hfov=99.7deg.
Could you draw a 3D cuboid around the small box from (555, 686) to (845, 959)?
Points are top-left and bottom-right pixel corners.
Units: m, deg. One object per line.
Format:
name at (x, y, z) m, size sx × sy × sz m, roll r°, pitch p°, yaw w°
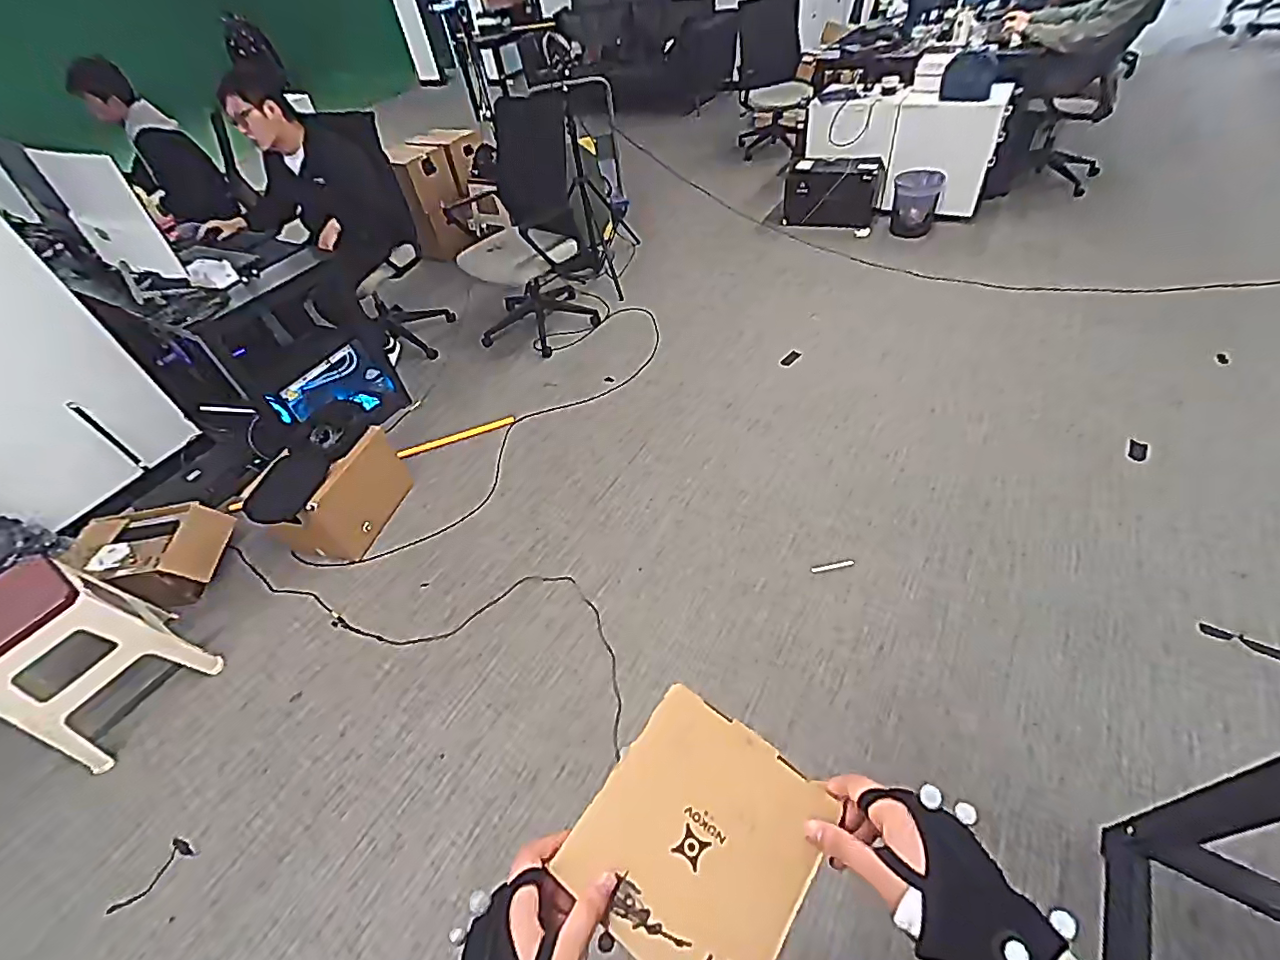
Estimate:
small box at (0.051, 0.324, 0.483) m, size 0.168 × 0.176 × 0.179 m, roll 30°, pitch 63°, yaw 22°
